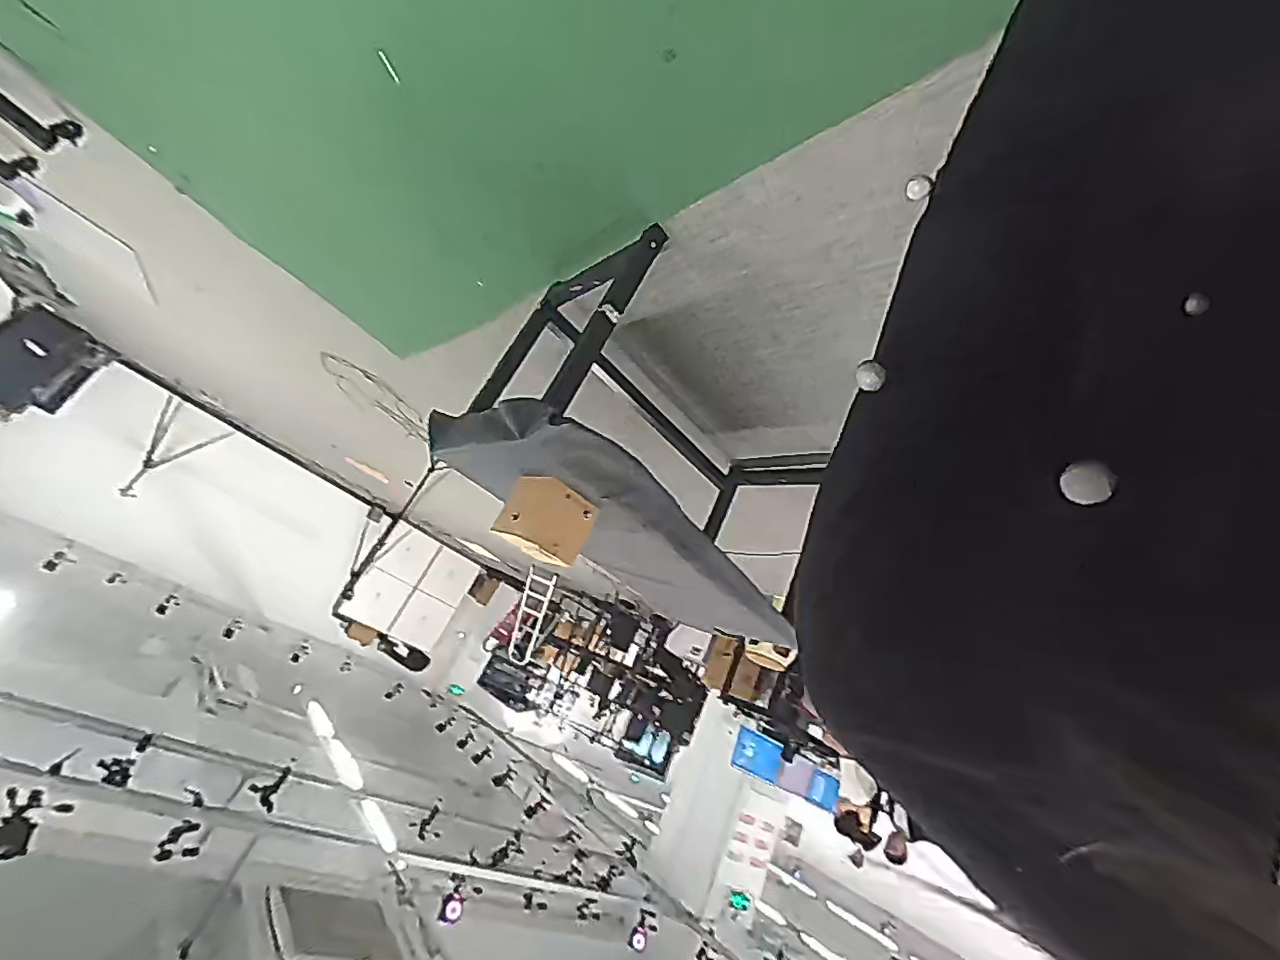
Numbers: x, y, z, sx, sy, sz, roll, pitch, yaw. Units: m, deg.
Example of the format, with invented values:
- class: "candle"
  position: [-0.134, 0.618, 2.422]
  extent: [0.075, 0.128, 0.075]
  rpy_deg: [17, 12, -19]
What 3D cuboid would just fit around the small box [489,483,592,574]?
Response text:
- class: "small box"
  position: [-0.246, 0.118, 1.378]
  extent: [0.168, 0.176, 0.179]
  rpy_deg: [41, 156, -33]
